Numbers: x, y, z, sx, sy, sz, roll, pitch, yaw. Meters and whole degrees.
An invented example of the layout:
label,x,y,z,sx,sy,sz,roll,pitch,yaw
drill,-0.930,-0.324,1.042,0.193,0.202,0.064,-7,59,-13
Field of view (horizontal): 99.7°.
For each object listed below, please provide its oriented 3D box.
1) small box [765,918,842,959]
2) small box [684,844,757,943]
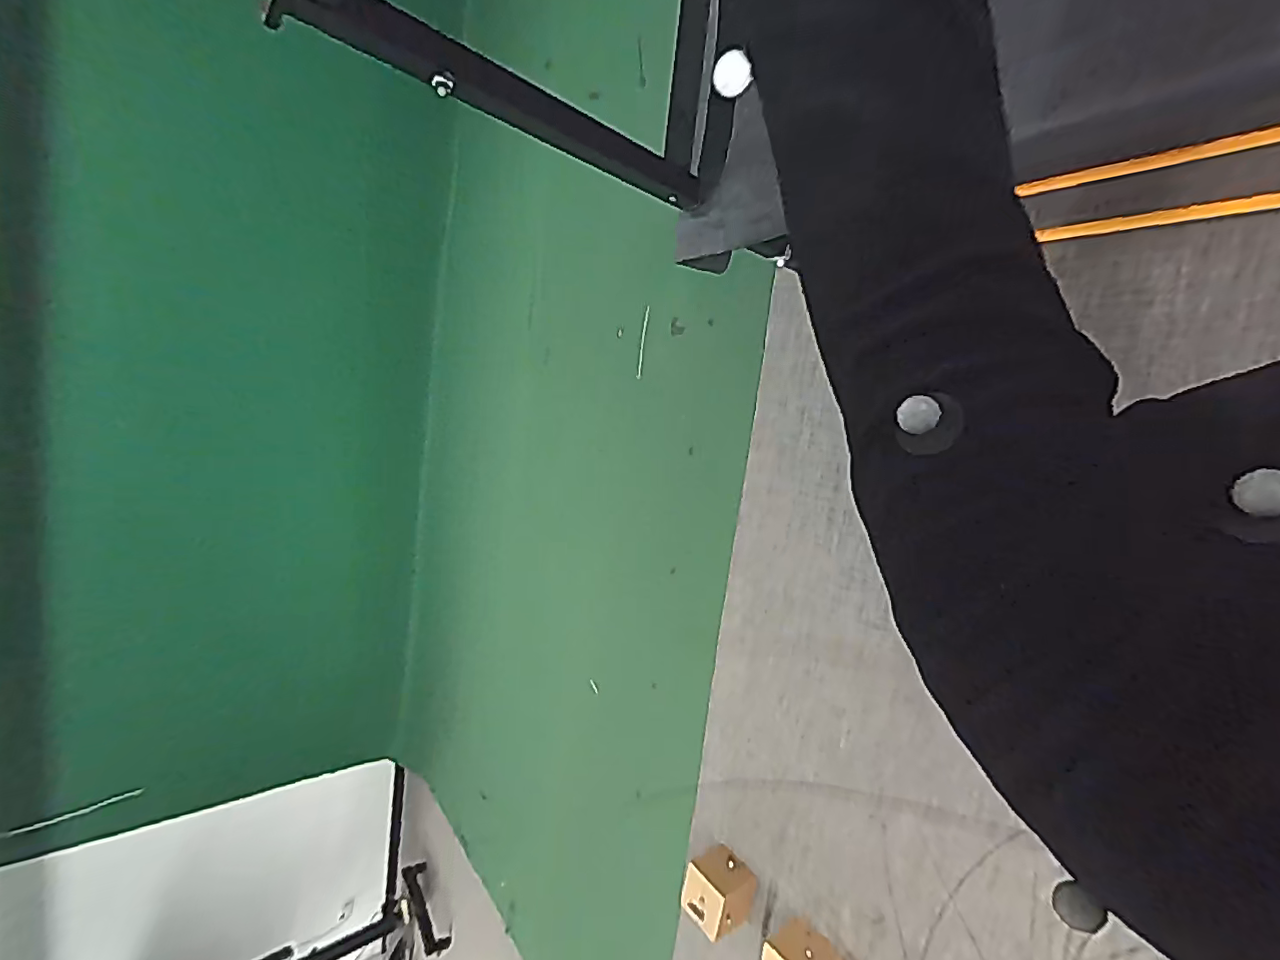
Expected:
label,x,y,z,sx,sy,sz,roll,pitch,yaw
small box,0.483,1.463,1.599,0.168,0.176,0.179,14,100,49
small box,0.276,1.402,1.844,0.168,0.176,0.179,20,102,48
